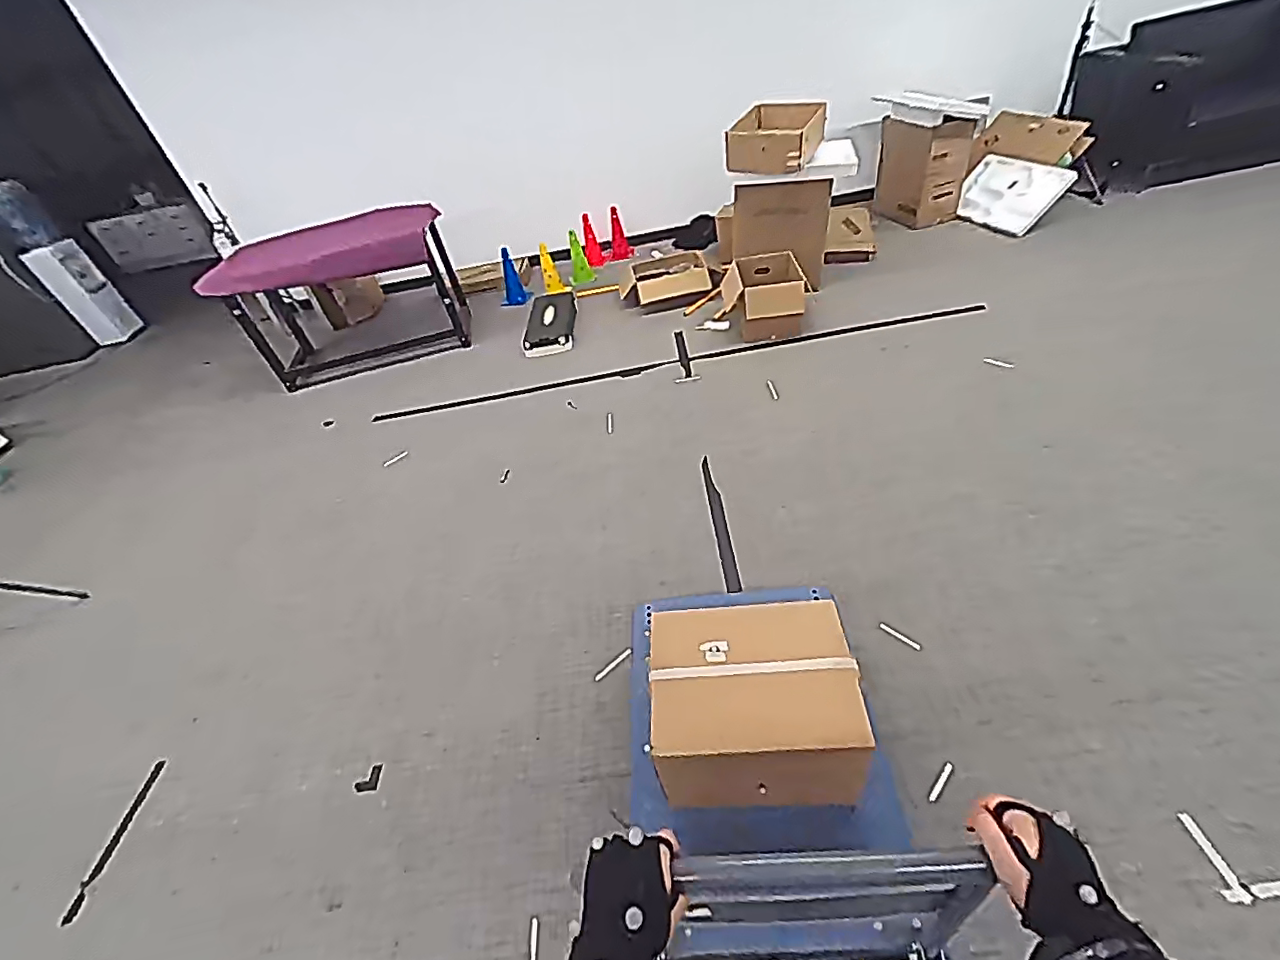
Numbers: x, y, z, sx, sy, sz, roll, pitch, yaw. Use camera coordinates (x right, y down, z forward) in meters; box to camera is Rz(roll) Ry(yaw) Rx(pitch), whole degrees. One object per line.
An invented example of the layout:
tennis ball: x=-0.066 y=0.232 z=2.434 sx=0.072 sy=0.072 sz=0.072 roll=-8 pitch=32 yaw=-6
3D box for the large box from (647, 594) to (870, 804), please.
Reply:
large box: x=0.240 y=0.483 z=1.180 sx=0.408 sy=0.320 sz=0.320 roll=-7 pitch=41 yaw=8
